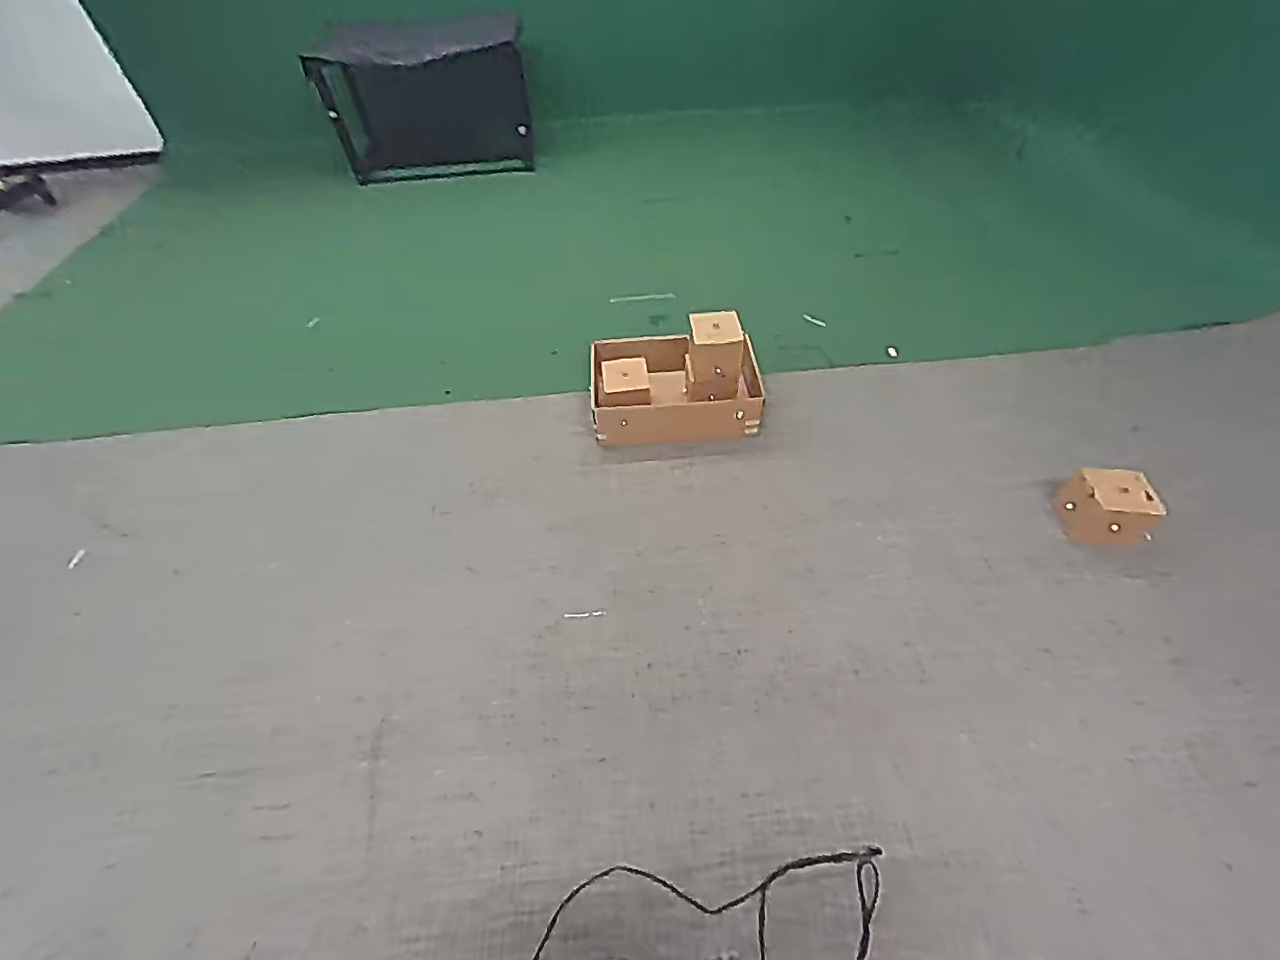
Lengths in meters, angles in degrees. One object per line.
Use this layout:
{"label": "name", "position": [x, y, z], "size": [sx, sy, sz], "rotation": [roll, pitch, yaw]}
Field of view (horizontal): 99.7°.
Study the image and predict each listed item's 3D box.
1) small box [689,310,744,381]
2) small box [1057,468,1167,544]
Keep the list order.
{"label": "small box", "position": [0.261, -0.467, 1.884], "size": [0.168, 0.176, 0.179], "rotation": [-5, 51, 1]}
{"label": "small box", "position": [1.417, 0.081, 1.644], "size": [0.179, 0.176, 0.168], "rotation": [3, 51, 7]}
